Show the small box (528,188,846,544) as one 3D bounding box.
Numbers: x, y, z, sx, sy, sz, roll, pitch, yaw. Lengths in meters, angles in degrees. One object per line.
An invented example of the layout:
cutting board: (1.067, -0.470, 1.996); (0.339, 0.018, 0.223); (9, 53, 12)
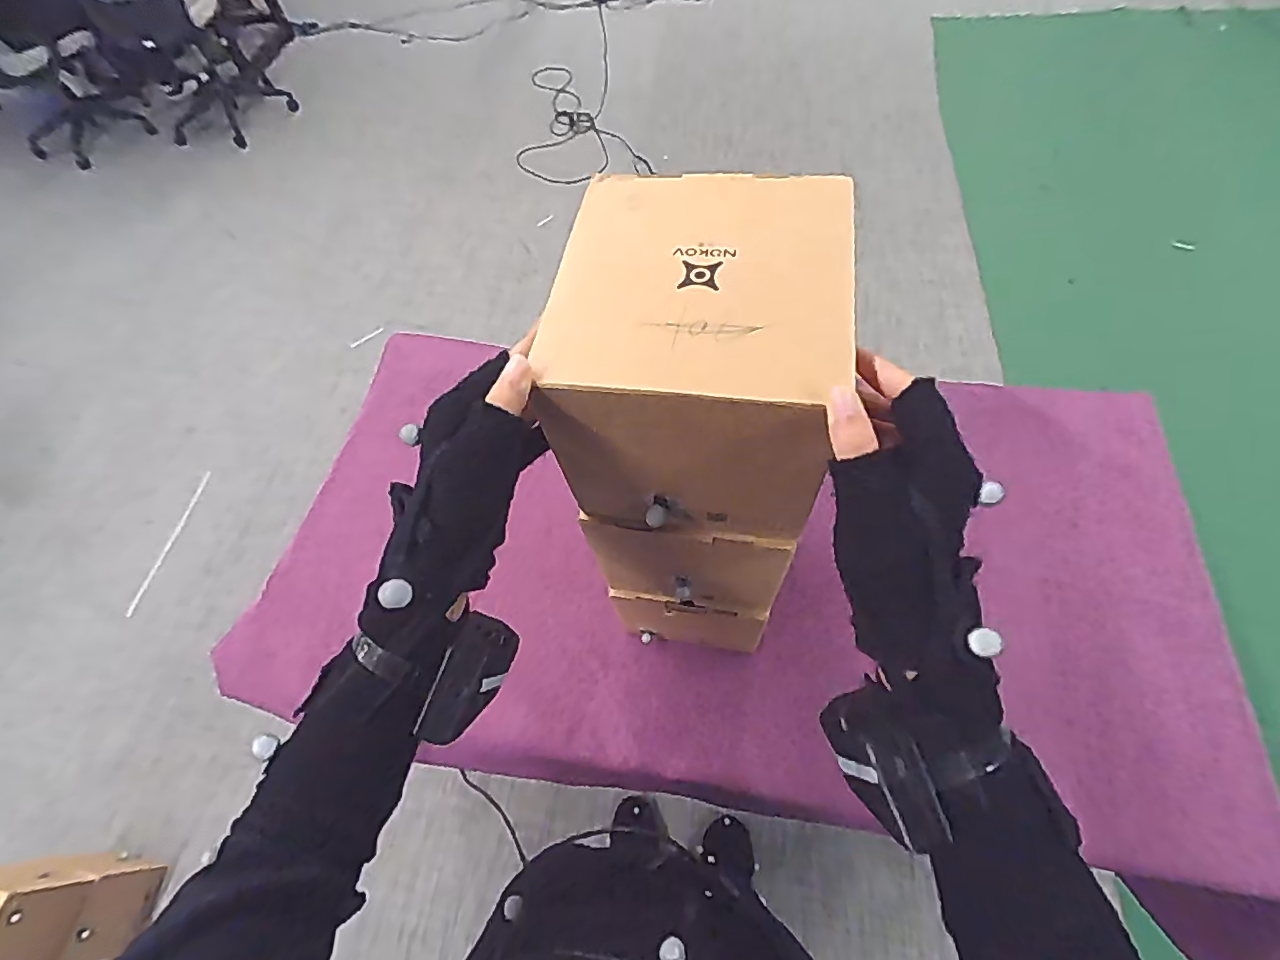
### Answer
small box: (0.042, -0.074, 0.383); (0.168, 0.176, 0.179); (6, 62, 11)

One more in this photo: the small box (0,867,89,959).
small box: (-1.216, 0.852, 1.012); (0.168, 0.176, 0.179); (4, 60, 8)

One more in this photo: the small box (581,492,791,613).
small box: (0.055, 0.010, 0.522); (0.168, 0.176, 0.179); (7, 62, 10)

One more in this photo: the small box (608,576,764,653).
small box: (0.070, 0.099, 0.660); (0.168, 0.176, 0.179); (7, 61, 10)
